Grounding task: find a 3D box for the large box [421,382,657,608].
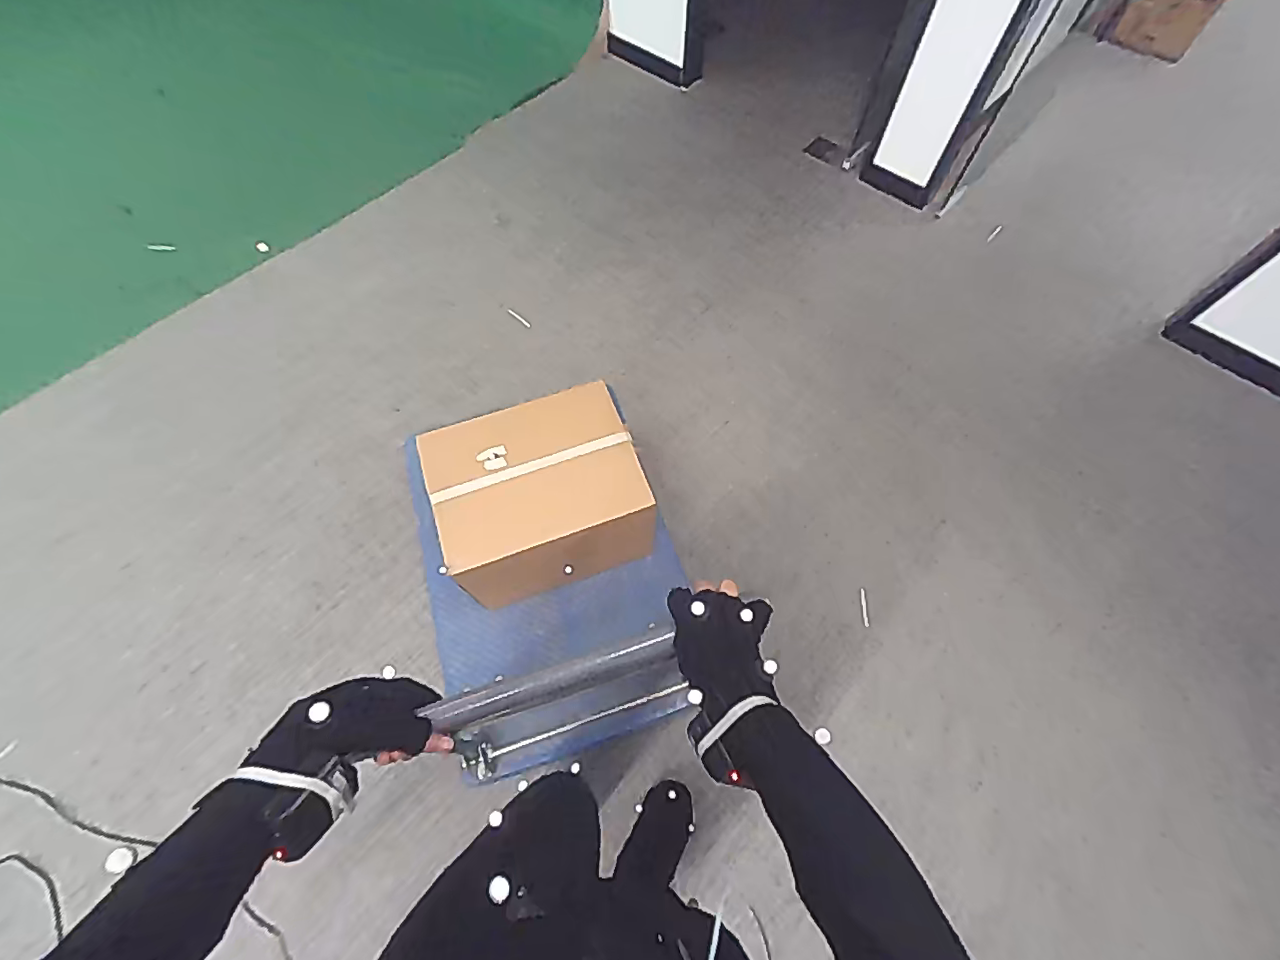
[{"bbox_3d":[-0.205,0.044,1.200,0.408,0.320,0.320,-19,65,-9],"label":"large box"}]
